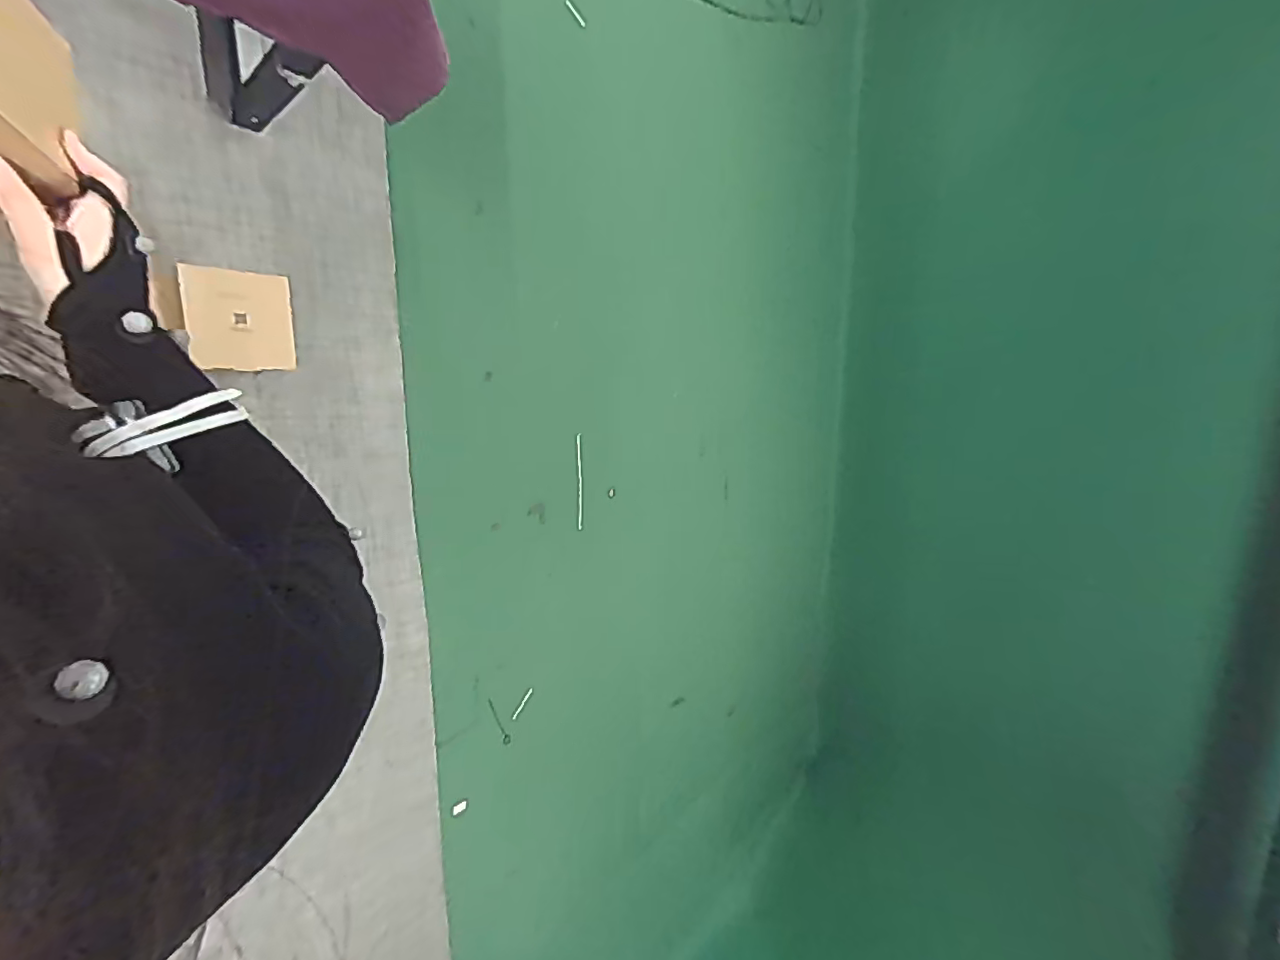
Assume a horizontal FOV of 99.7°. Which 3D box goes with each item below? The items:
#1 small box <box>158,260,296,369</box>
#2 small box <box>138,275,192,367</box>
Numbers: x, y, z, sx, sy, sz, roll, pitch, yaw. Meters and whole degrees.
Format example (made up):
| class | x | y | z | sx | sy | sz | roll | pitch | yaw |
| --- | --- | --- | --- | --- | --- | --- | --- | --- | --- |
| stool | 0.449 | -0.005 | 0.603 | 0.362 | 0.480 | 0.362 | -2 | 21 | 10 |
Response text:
| class | x | y | z | sx | sy | sz | roll | pitch | yaw |
| --- | --- | --- | --- | --- | --- | --- | --- | --- | --- |
| small box | -0.778 | -0.301 | 1.022 | 0.168 | 0.176 | 0.179 | -12 | 106 | -50 |
| small box | -0.907 | -0.321 | 1.120 | 0.179 | 0.176 | 0.168 | -15 | 109 | -48 |
